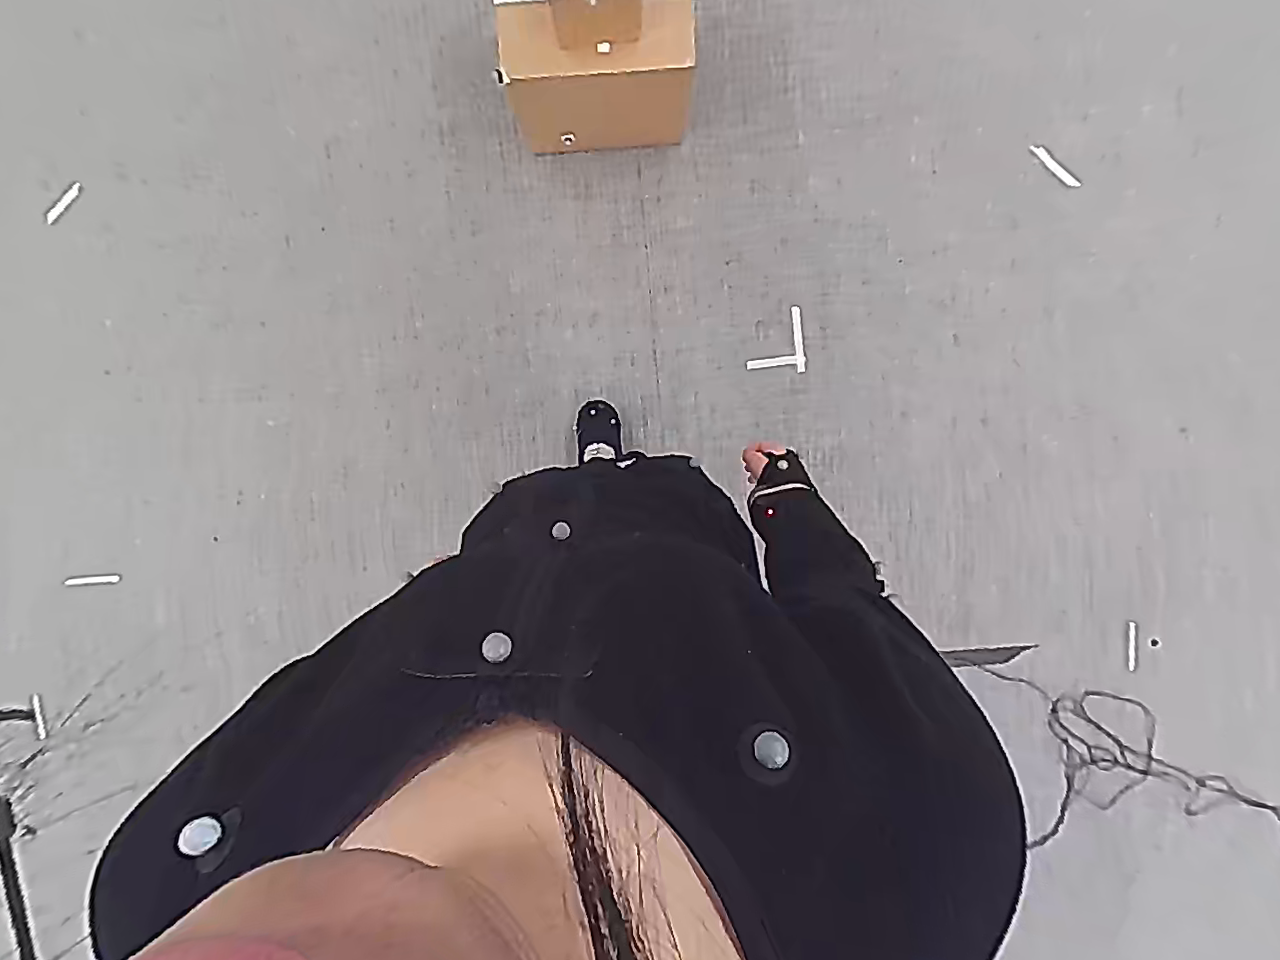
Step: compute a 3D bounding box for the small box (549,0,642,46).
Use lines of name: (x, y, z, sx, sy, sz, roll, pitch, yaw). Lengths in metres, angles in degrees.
small box: (-0.088, -0.958, 1.014, 0.179, 0.176, 0.168, -6, 97, 0)
